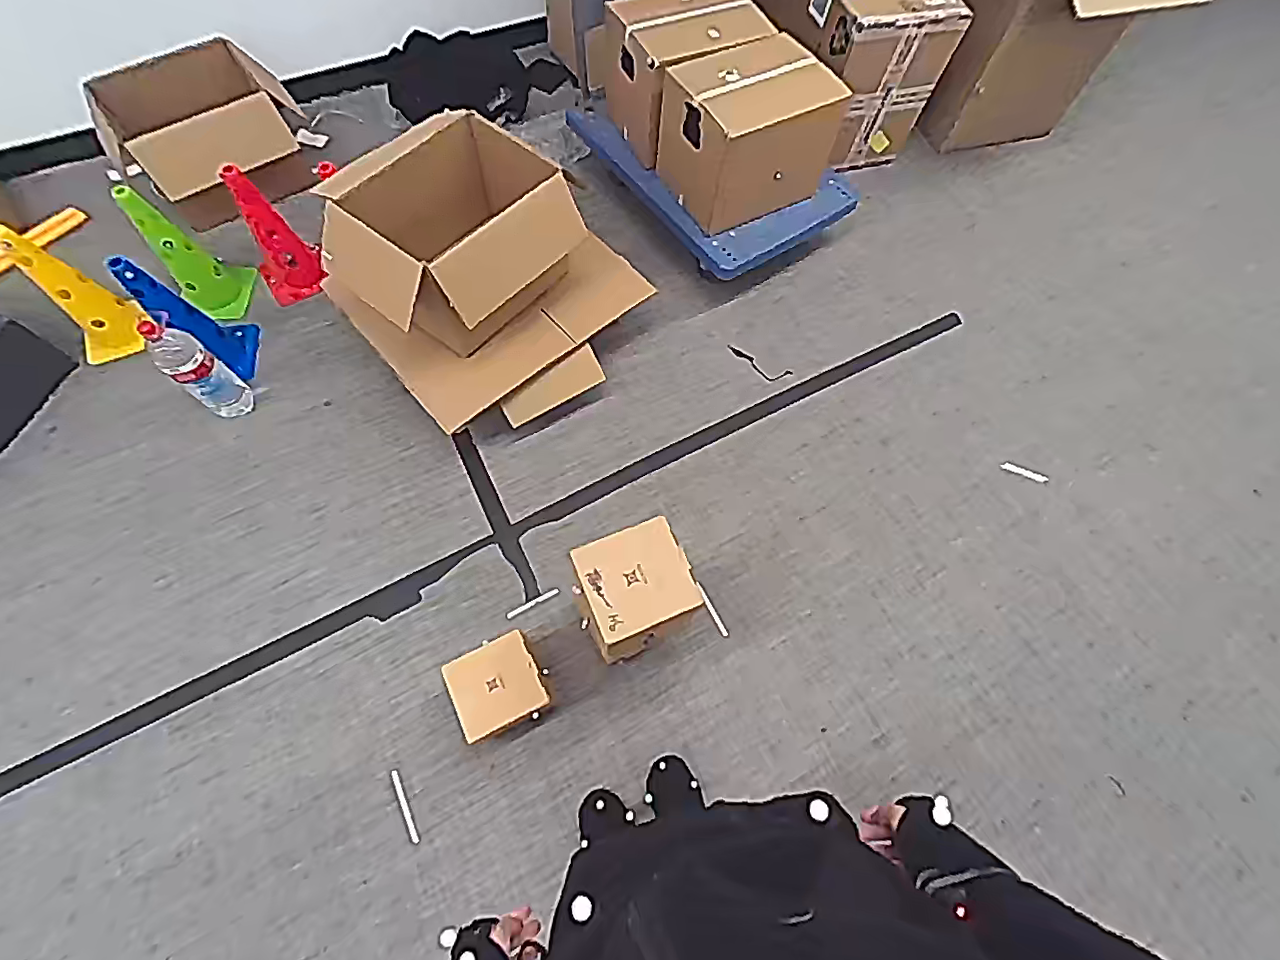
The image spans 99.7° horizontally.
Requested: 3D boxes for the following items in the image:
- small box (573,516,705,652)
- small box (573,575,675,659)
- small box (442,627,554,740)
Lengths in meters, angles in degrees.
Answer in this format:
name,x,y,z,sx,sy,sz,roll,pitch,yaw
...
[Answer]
name,x,y,z,sx,sy,sz,roll,pitch,yaw
small box,-0.010,0.187,0.950,0.179,0.176,0.168,-20,70,-13
small box,-0.023,0.249,1.102,0.179,0.176,0.168,-23,71,-14
small box,-0.302,0.445,1.179,0.179,0.176,0.168,-25,71,-14
